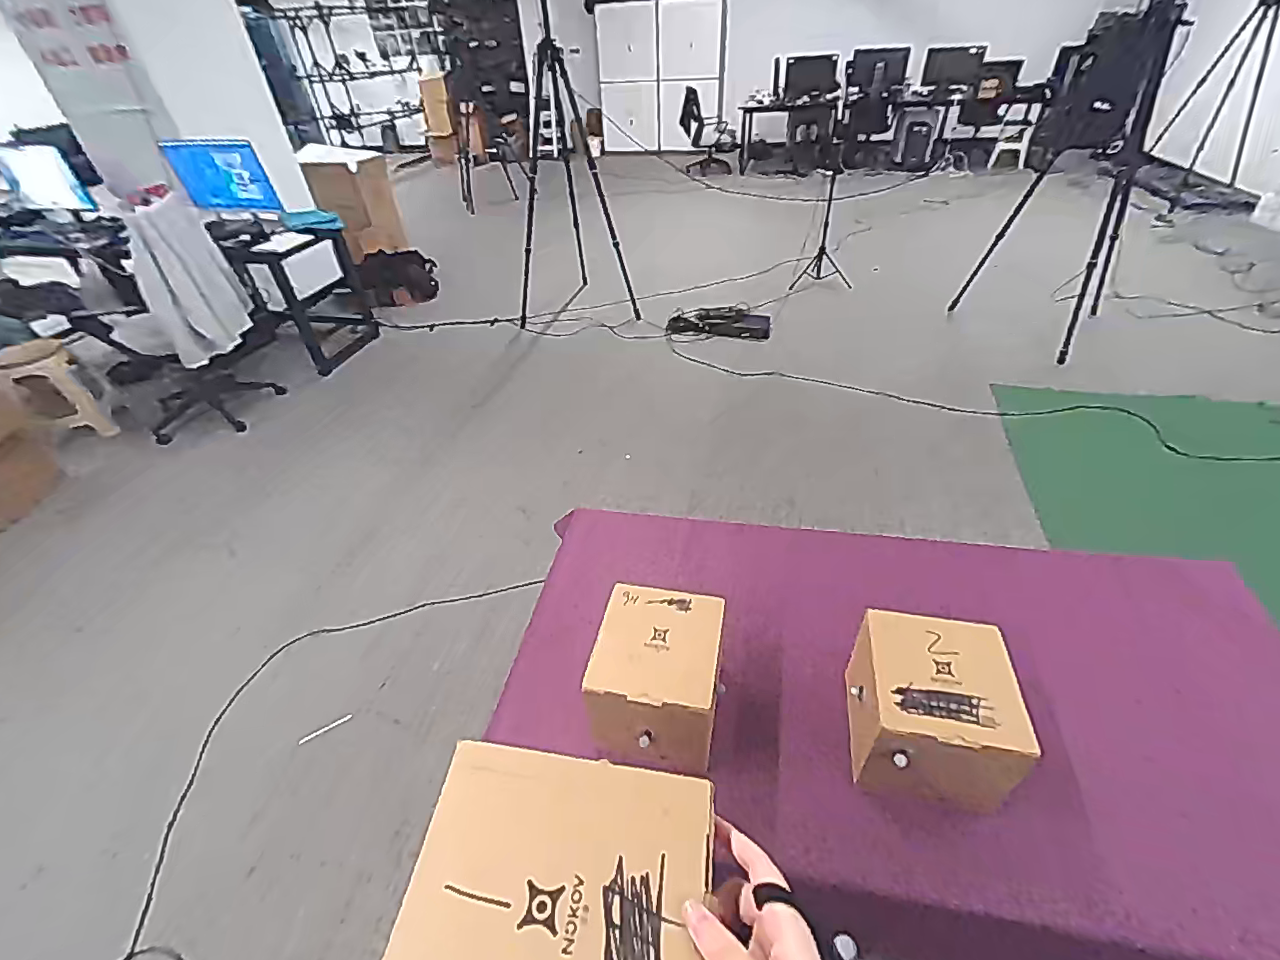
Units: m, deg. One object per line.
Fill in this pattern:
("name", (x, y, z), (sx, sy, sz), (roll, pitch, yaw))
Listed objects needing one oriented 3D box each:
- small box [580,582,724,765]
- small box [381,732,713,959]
("small box", (0.026, 0.277, 0.776), (0.168, 0.176, 0.179), (8, 42, 12))
("small box", (-0.055, 0.299, 0.372), (0.179, 0.176, 0.168), (9, 47, 3))
